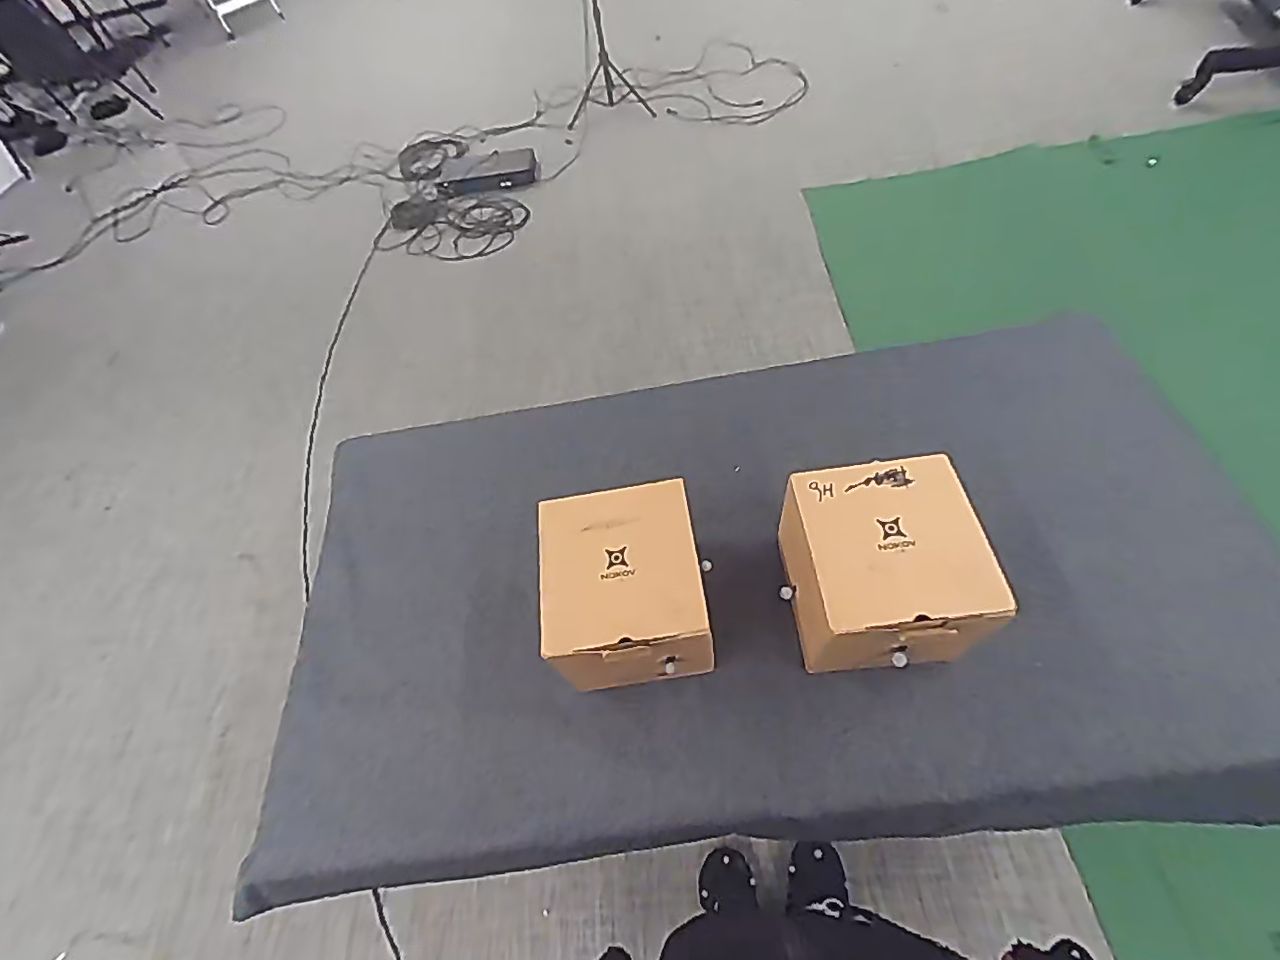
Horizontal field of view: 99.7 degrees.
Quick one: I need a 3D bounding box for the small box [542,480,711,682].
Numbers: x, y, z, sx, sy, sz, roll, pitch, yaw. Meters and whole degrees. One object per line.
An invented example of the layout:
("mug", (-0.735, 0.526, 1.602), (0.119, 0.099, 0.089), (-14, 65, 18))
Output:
("small box", (-0.012, 0.127, 0.633), (0.168, 0.176, 0.179), (-10, 56, 1))
